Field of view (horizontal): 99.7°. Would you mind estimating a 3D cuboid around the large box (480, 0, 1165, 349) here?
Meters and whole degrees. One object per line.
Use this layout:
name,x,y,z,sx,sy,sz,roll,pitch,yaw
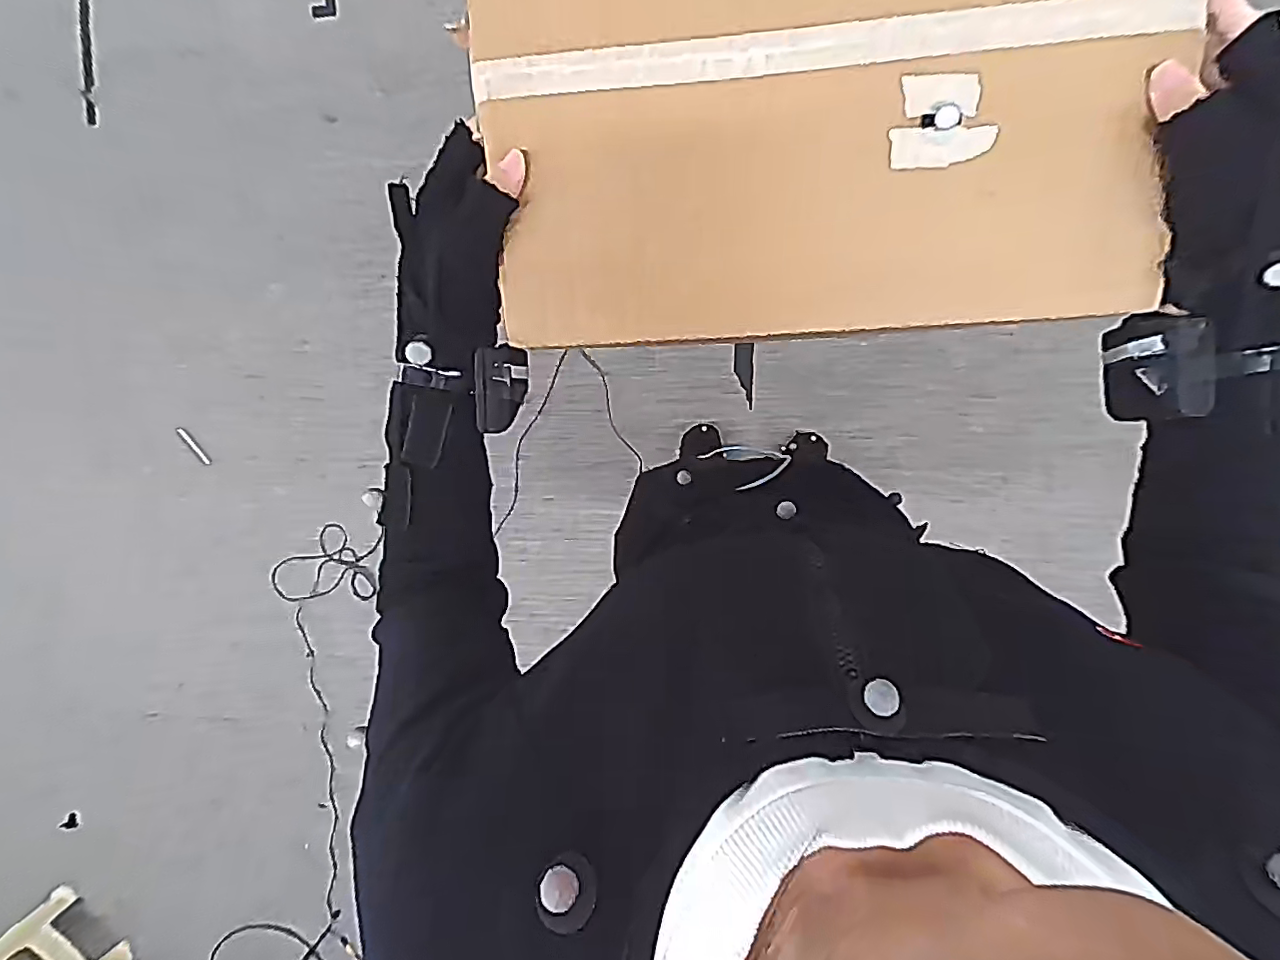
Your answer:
large box,0.109,-0.288,0.470,0.408,0.320,0.320,-3,104,4
